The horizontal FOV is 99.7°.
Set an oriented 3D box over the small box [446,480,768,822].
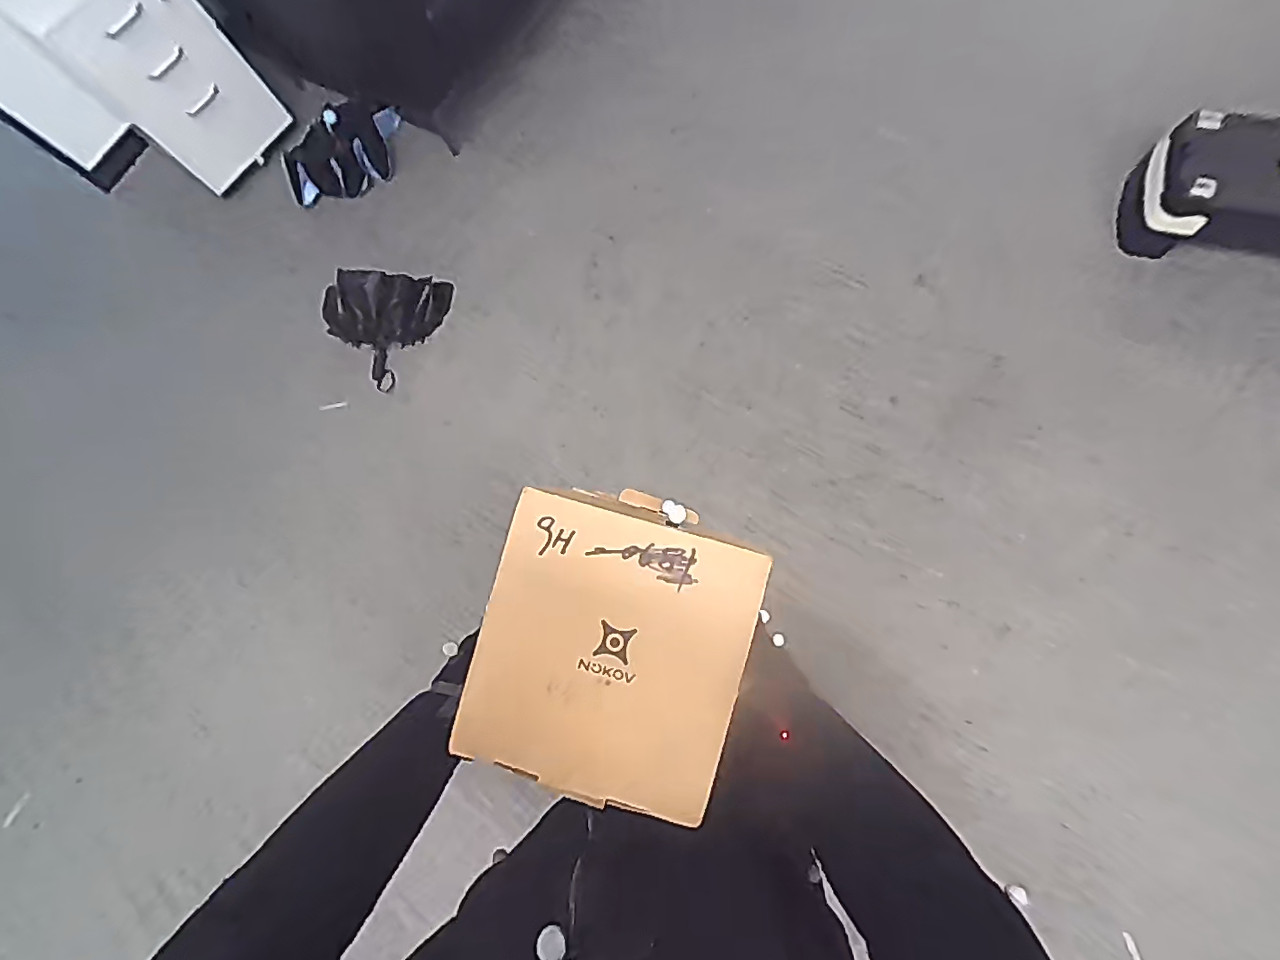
[{"bbox_3d":[-0.018,0.105,0.411,0.168,0.176,0.179,15,89,2],"label":"small box"}]
